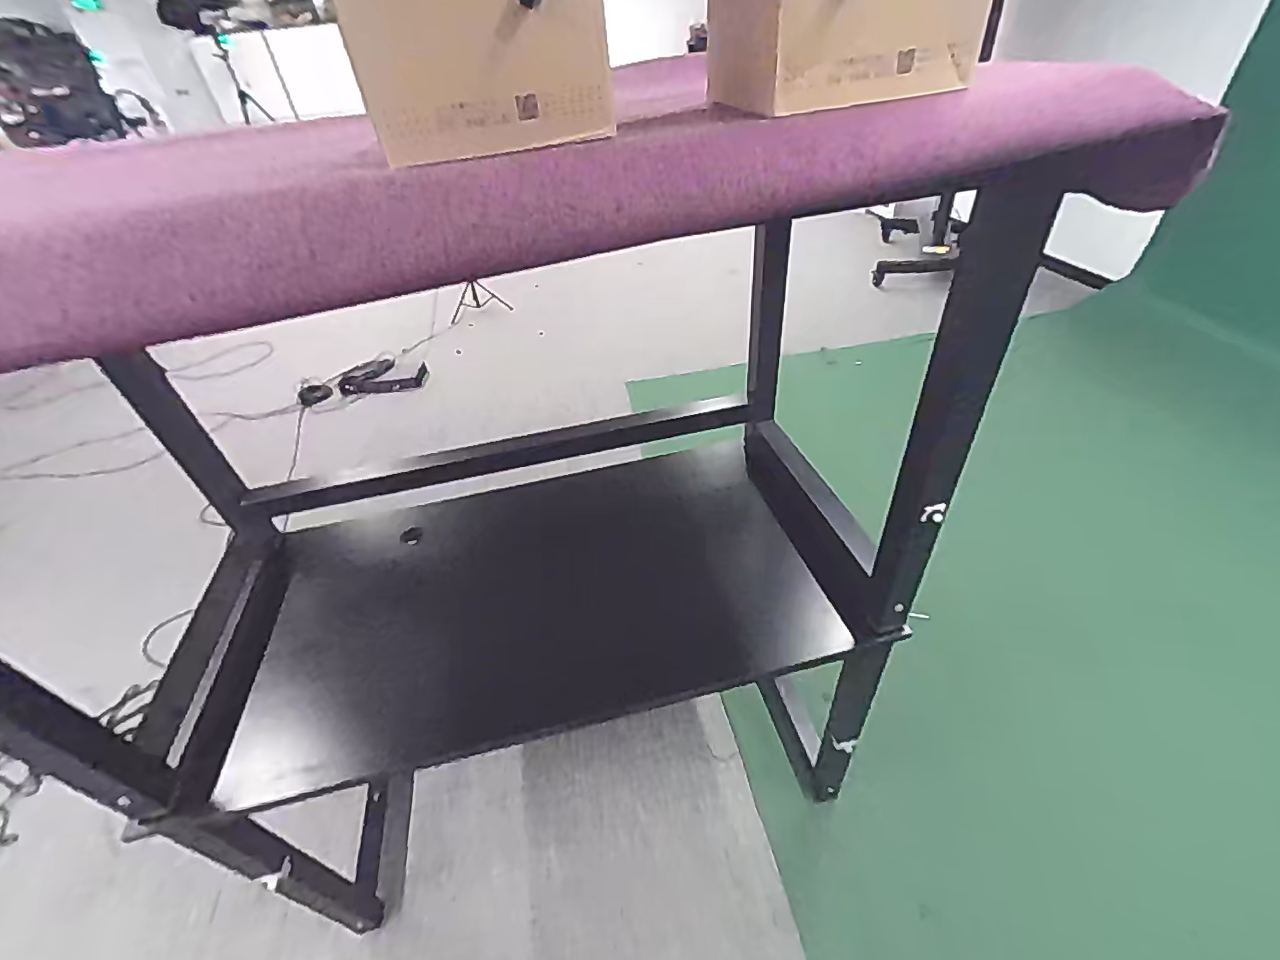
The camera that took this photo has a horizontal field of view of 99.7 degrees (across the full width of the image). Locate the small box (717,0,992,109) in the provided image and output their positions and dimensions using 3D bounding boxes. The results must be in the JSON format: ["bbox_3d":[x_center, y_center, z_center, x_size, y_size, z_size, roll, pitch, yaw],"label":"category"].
[{"bbox_3d":[0.162,-0.407,0.426,0.168,0.176,0.179,-11,40,-4],"label":"small box"}]

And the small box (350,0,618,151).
[{"bbox_3d":[-0.115,-0.357,0.405,0.168,0.176,0.179,-10,38,-6],"label":"small box"}]
